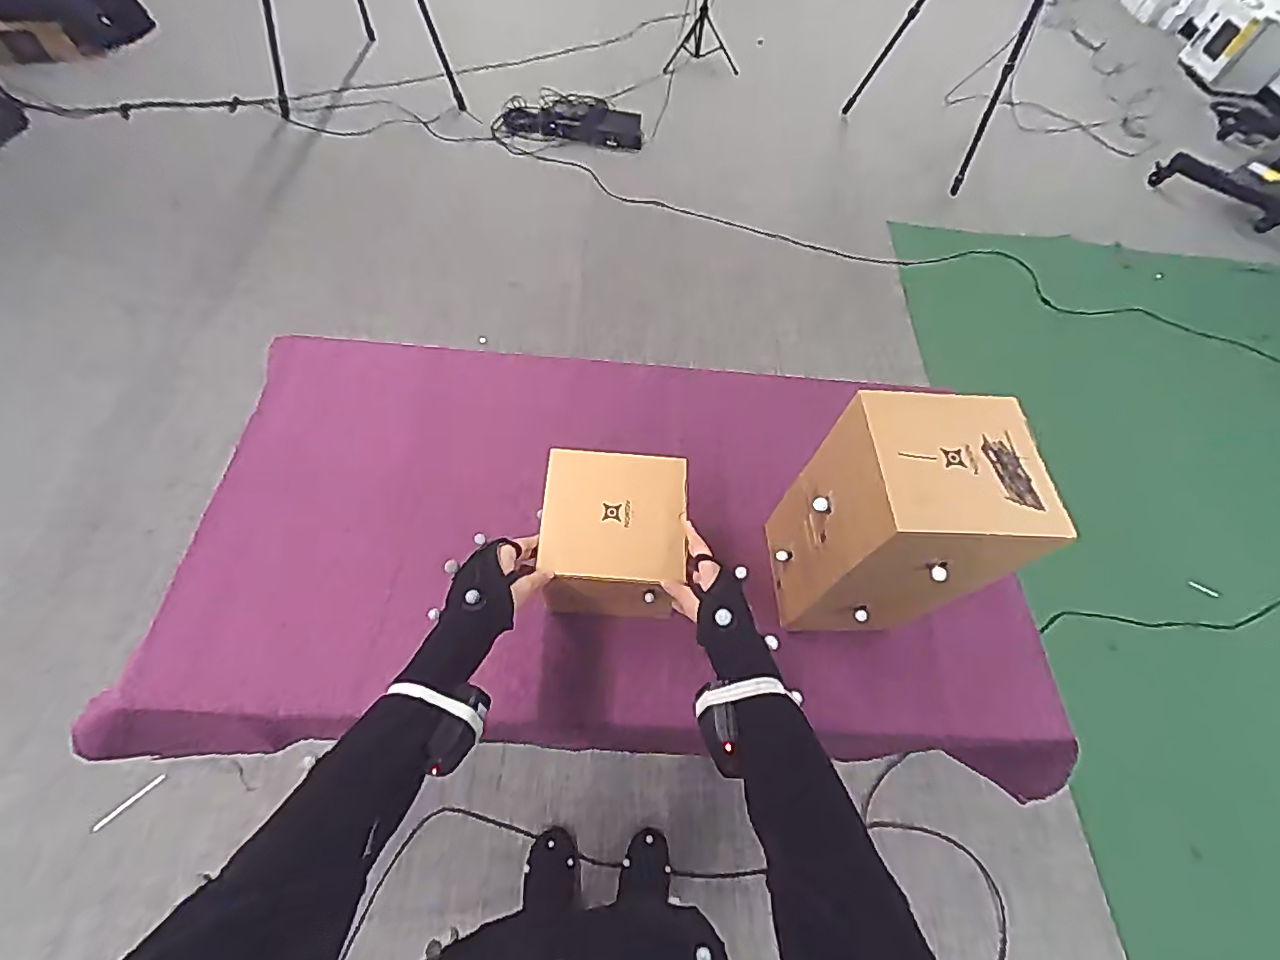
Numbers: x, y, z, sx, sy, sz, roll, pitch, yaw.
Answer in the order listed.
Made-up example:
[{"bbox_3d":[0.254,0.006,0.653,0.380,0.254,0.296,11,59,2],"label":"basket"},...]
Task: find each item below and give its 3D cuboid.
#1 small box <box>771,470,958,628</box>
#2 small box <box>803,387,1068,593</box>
[{"bbox_3d":[0.288,0.100,0.742,0.179,0.176,0.168,1,60,-4],"label":"small box"},{"bbox_3d":[0.303,0.019,0.599,0.179,0.176,0.168,2,59,-4],"label":"small box"}]
